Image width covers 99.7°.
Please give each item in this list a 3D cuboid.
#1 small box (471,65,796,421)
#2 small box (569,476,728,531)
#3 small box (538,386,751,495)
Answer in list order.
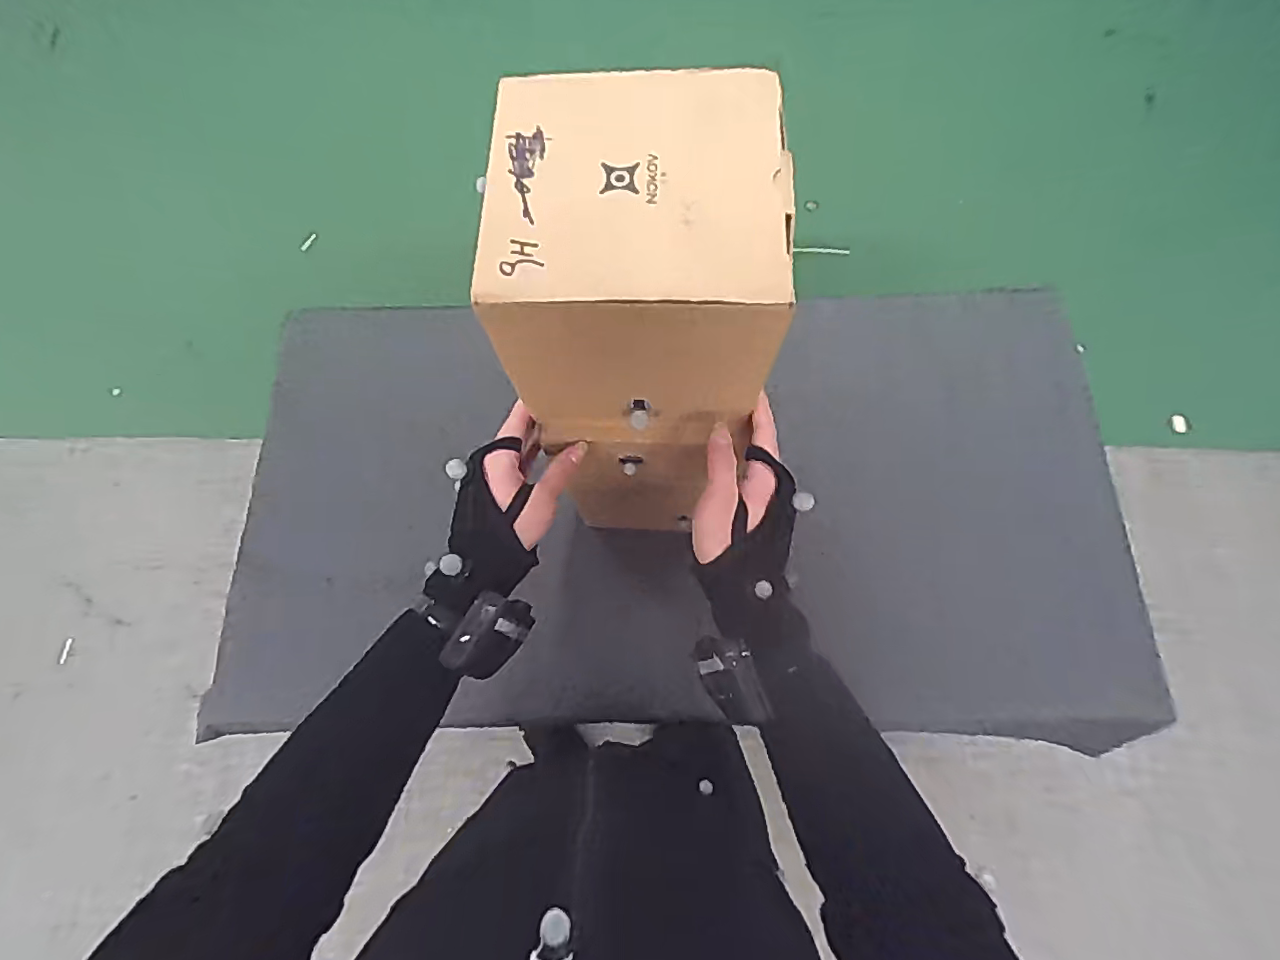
[{"bbox_3d":[-0.001,-0.149,0.385,0.179,0.176,0.168,1,72,1],"label":"small box"},{"bbox_3d":[0.016,-0.034,0.692,0.179,0.176,0.168,2,72,4],"label":"small box"},{"bbox_3d":[0.008,-0.087,0.536,0.179,0.176,0.168,2,72,1],"label":"small box"}]
